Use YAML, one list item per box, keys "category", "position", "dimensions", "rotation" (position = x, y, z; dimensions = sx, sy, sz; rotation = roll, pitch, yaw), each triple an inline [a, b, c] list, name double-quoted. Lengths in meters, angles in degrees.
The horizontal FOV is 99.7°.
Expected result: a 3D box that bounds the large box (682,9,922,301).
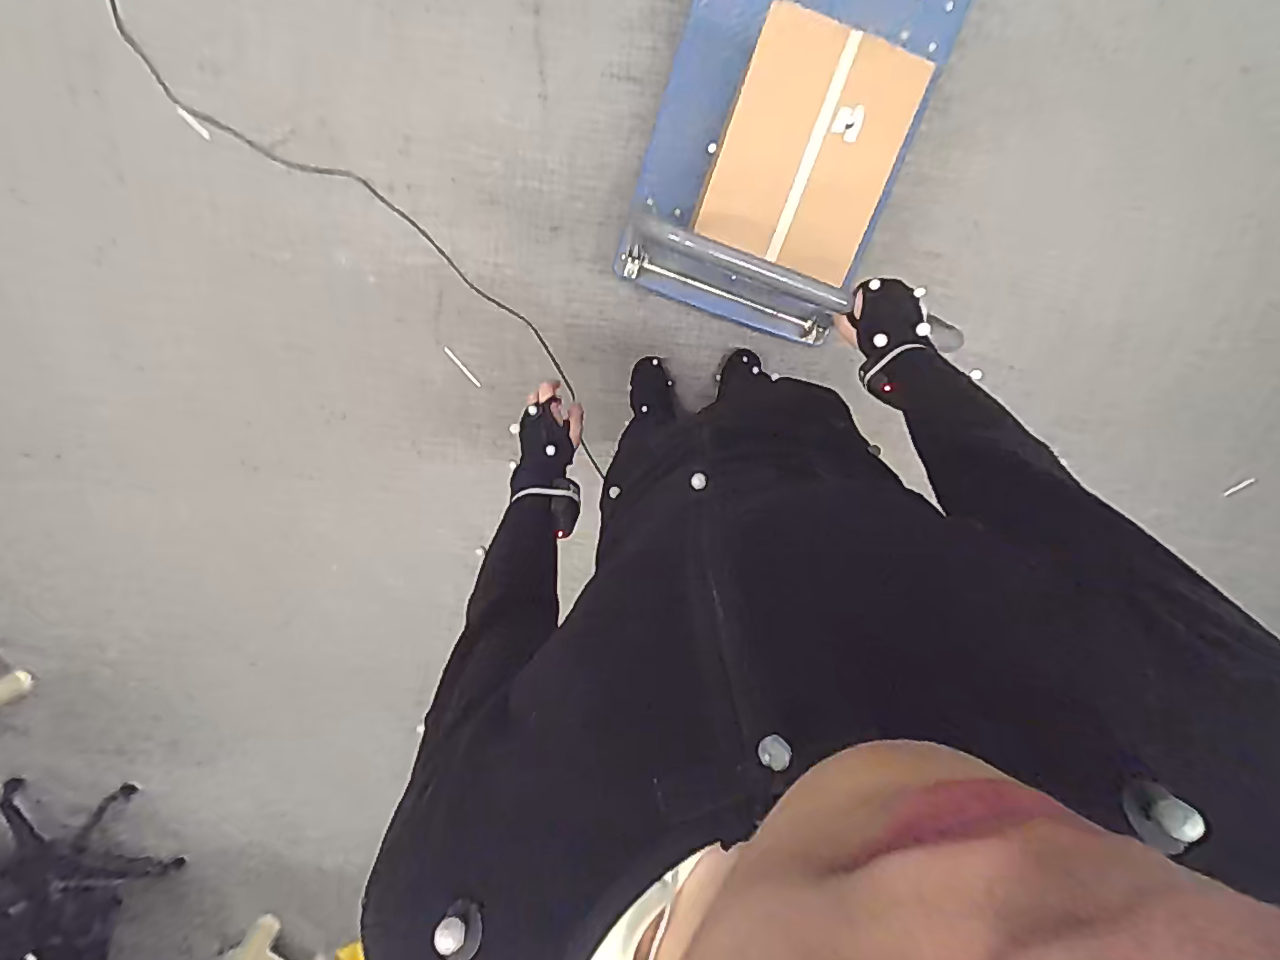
- category: "large box"
  position: [0.302, -0.632, 1.145]
  dimensions: [0.320, 0.320, 0.408]
  rotation: [18, 104, -6]
